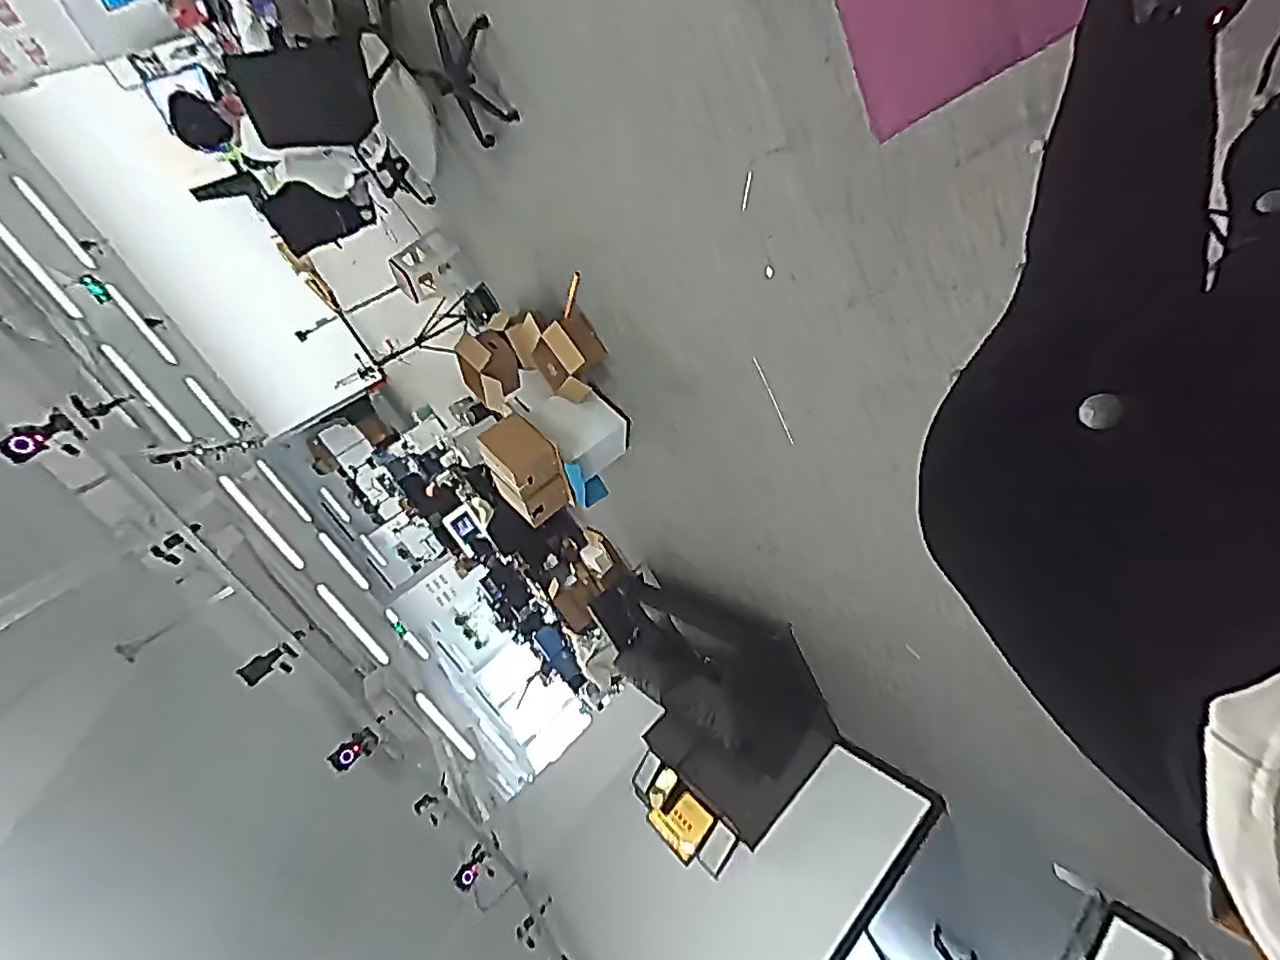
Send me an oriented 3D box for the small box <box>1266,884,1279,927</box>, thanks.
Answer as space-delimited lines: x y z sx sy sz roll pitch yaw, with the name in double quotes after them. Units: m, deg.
1.690 1.129 1.332 0.168 0.176 0.179 12 133 57 "small box"
